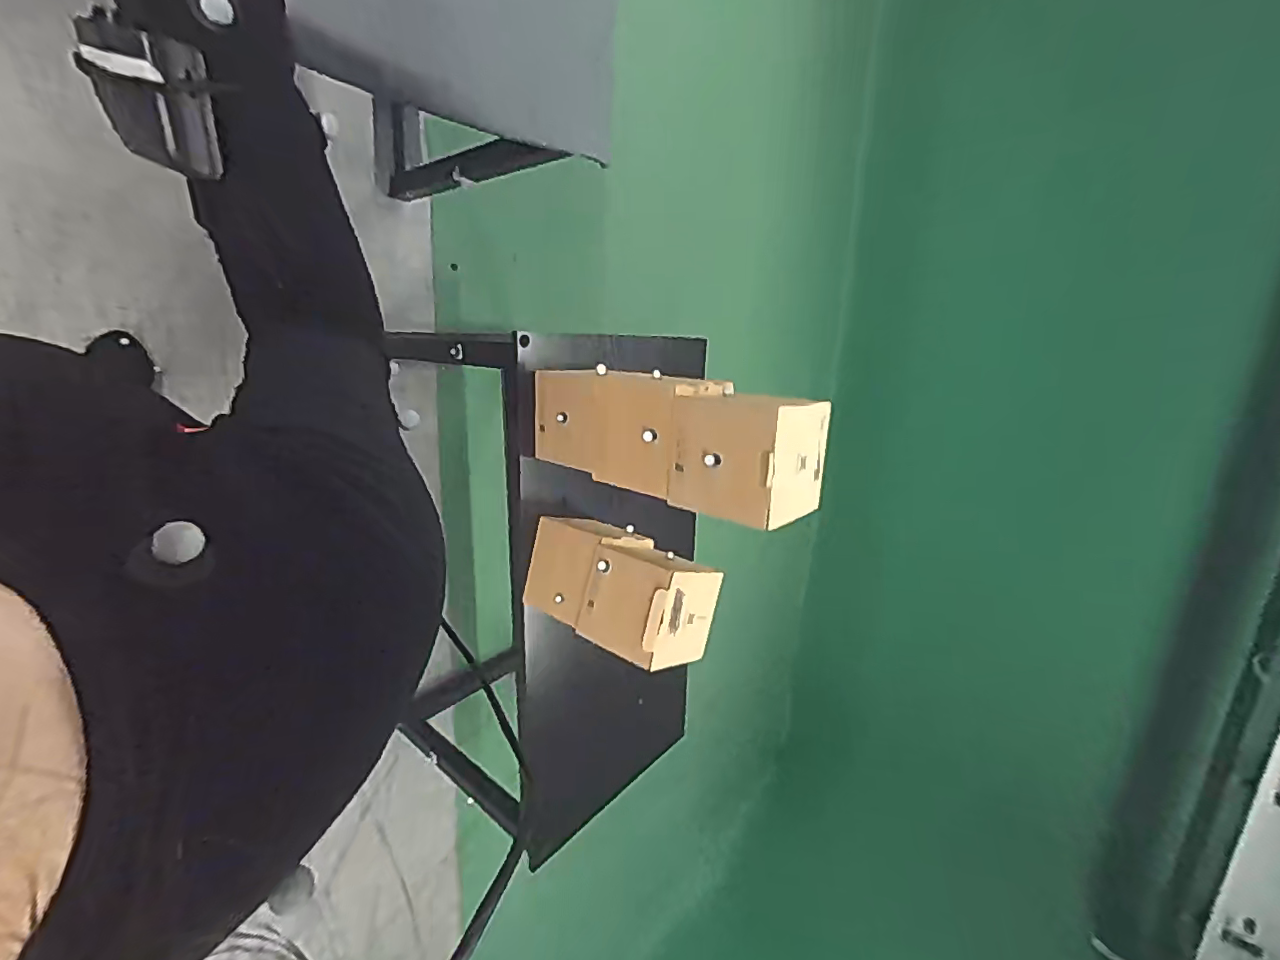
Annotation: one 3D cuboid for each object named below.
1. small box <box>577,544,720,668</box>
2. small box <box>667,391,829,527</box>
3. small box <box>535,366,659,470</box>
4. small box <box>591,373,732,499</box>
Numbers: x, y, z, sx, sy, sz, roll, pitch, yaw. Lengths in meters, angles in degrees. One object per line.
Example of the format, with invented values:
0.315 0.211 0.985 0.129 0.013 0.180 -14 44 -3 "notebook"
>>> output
0.014 0.216 0.966 0.179 0.176 0.168 14 91 -53 "small box"
0.156 -0.040 0.799 0.179 0.176 0.168 -12 110 -48 "small box"
-0.081 -0.122 1.009 0.179 0.176 0.168 -14 113 -49 "small box"
0.032 -0.082 0.899 0.168 0.176 0.179 -14 112 -48 "small box"
